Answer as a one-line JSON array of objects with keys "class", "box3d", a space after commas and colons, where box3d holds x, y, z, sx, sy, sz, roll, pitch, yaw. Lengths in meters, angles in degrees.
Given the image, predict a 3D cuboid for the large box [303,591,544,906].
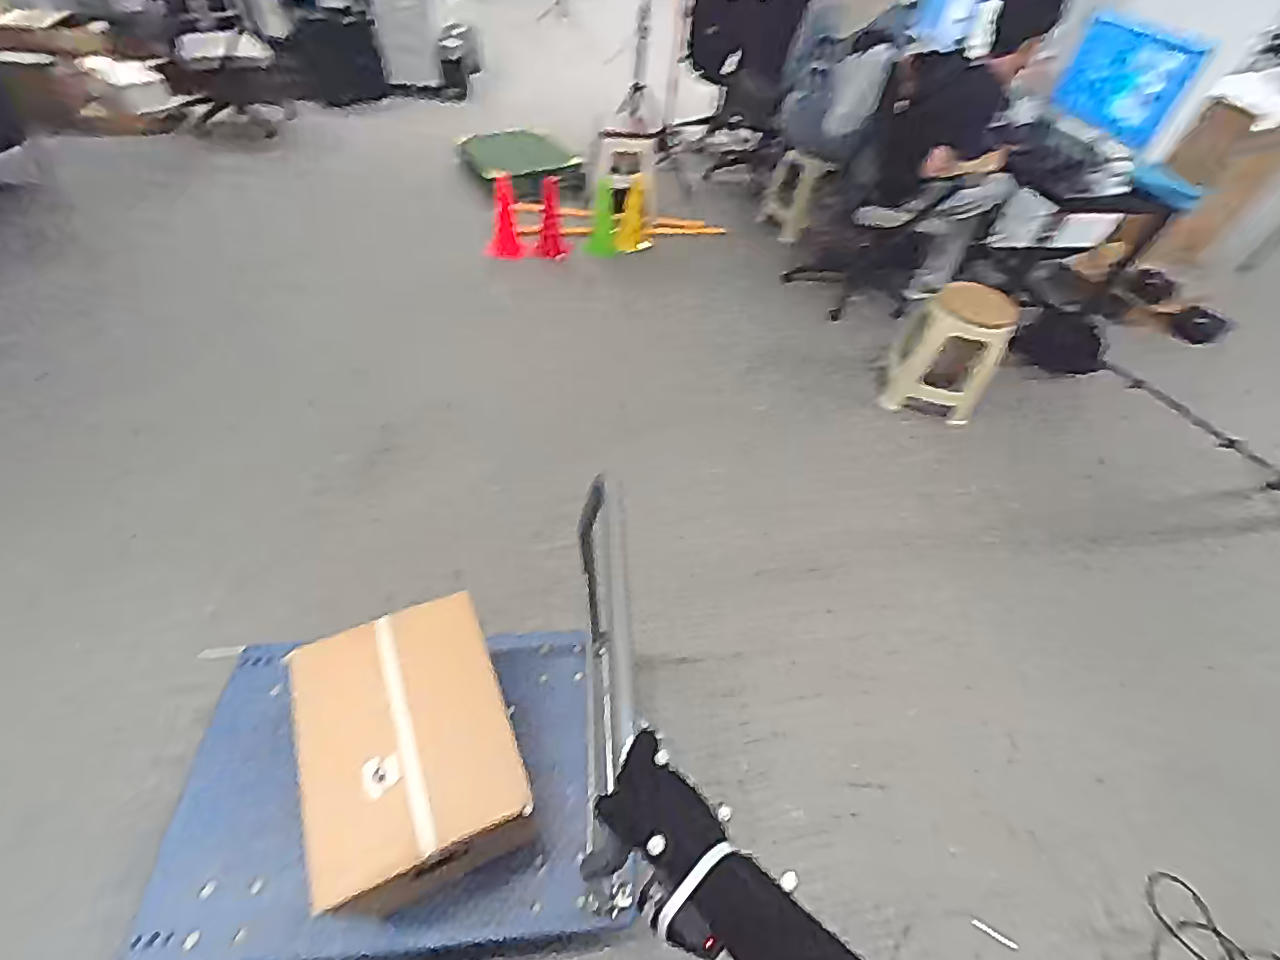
[{"class": "large box", "box3d": [-0.392, 0.492, 1.017, 0.320, 0.320, 0.408, -17, 55, -20]}]
